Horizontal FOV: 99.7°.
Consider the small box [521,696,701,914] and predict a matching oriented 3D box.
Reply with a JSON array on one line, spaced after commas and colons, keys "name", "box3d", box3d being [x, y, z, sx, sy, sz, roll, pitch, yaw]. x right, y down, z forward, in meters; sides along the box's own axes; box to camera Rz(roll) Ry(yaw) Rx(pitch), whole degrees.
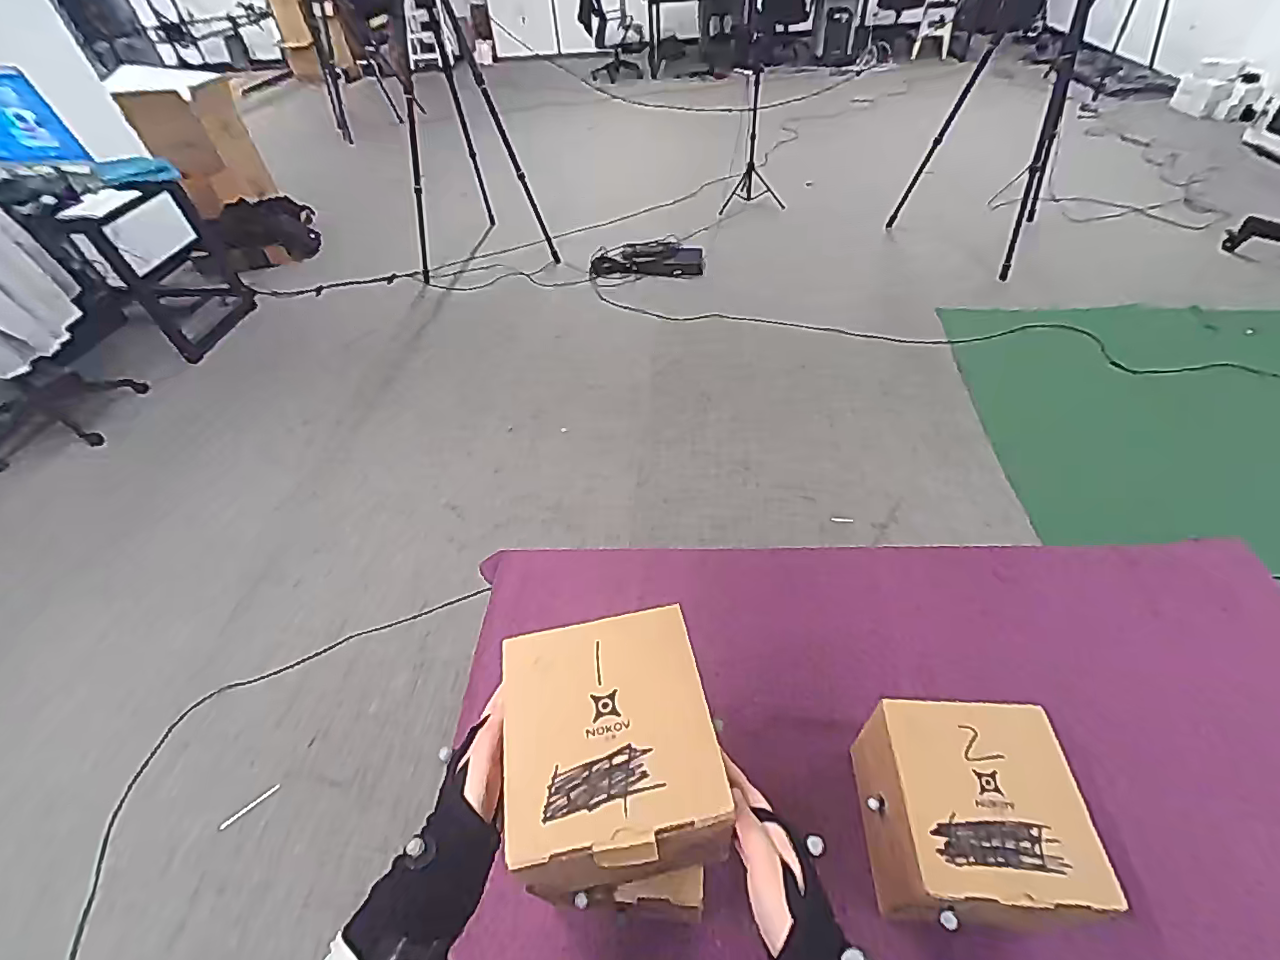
[{"name": "small box", "box3d": [-0.018, 0.365, 0.606, 0.168, 0.176, 0.179, 2, 48, 6]}]
